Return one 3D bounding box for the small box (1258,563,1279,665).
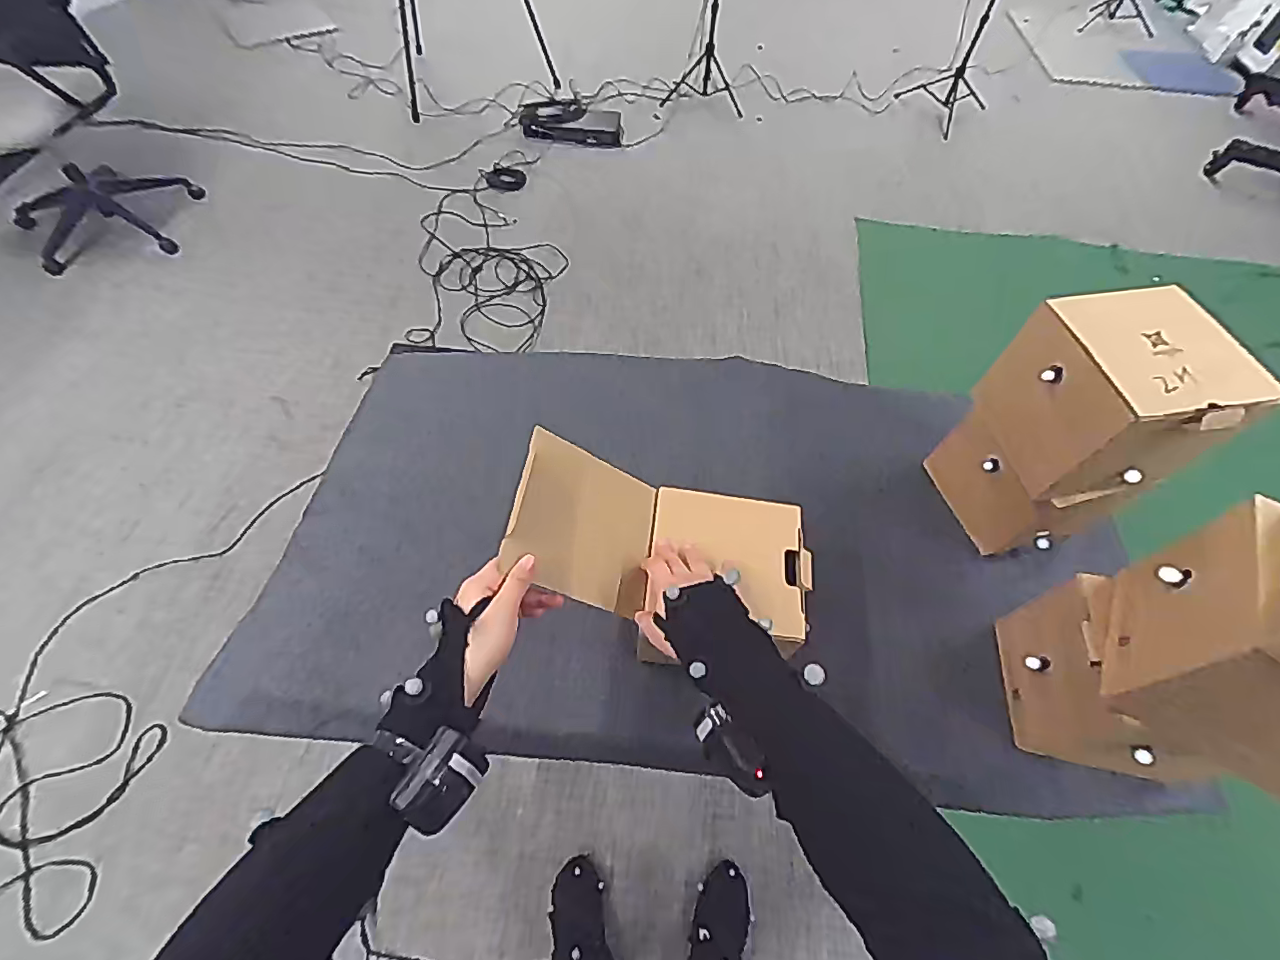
[{"bbox_3d":[0.568,0.084,0.330,0.179,0.176,0.168,38,62,21],"label":"small box"}]

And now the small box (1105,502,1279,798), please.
[{"bbox_3d":[0.567,0.158,0.479,0.179,0.176,0.168,29,59,16],"label":"small box"}]

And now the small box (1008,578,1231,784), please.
[{"bbox_3d":[0.560,0.236,0.623,0.179,0.176,0.168,11,56,5],"label":"small box"}]

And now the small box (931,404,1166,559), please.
[{"bbox_3d":[0.563,-0.009,0.780,0.168,0.176,0.179,-14,61,-7],"label":"small box"}]

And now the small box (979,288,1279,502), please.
[{"bbox_3d":[0.548,-0.096,0.639,0.168,0.176,0.179,-8,60,-3],"label":"small box"}]
